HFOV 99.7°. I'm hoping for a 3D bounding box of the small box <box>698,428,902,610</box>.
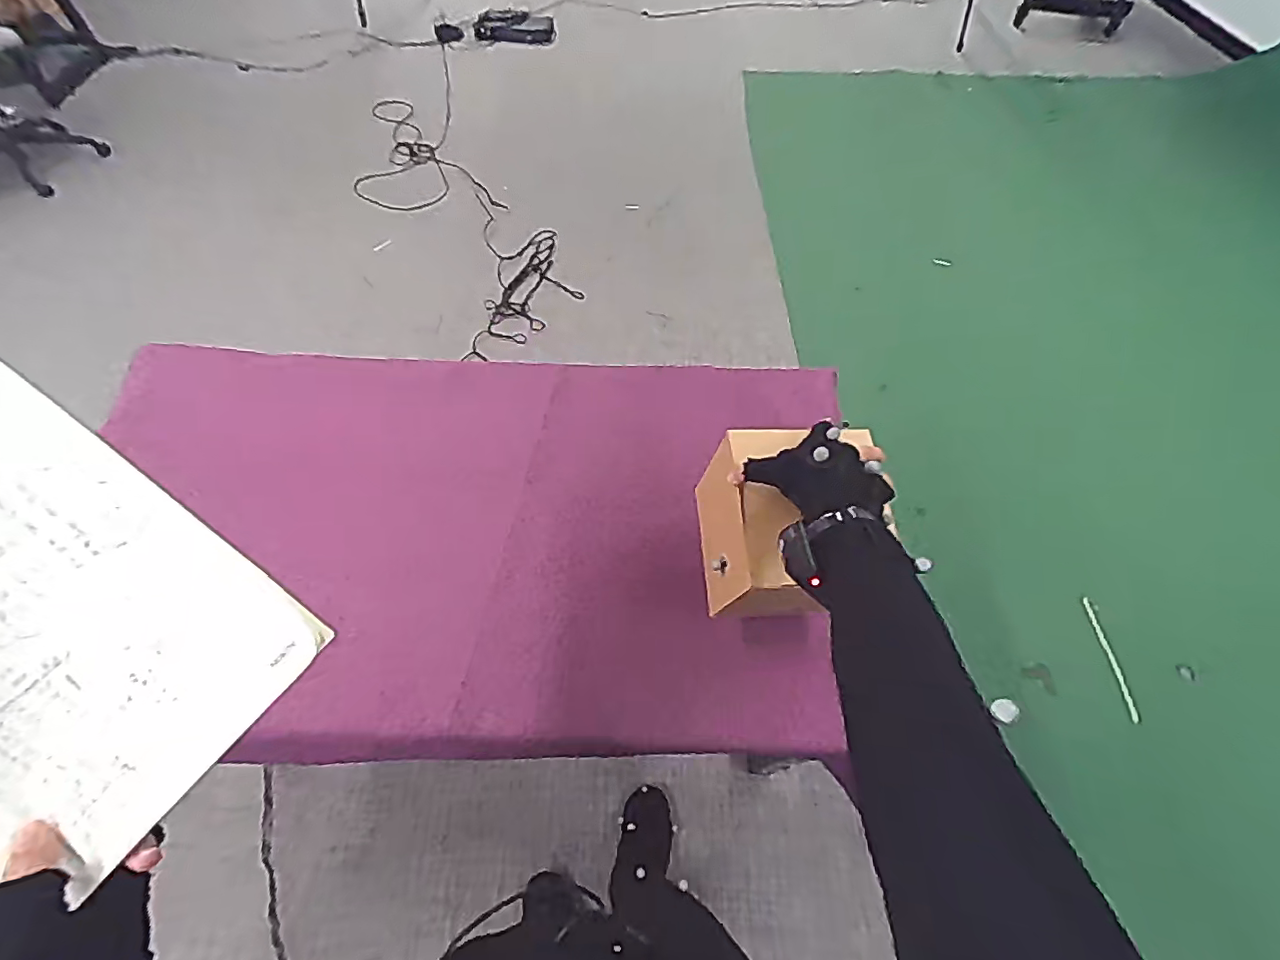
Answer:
[{"bbox_3d":[0.171,0.055,0.638,0.168,0.176,0.179,0,66,-8],"label":"small box"}]
